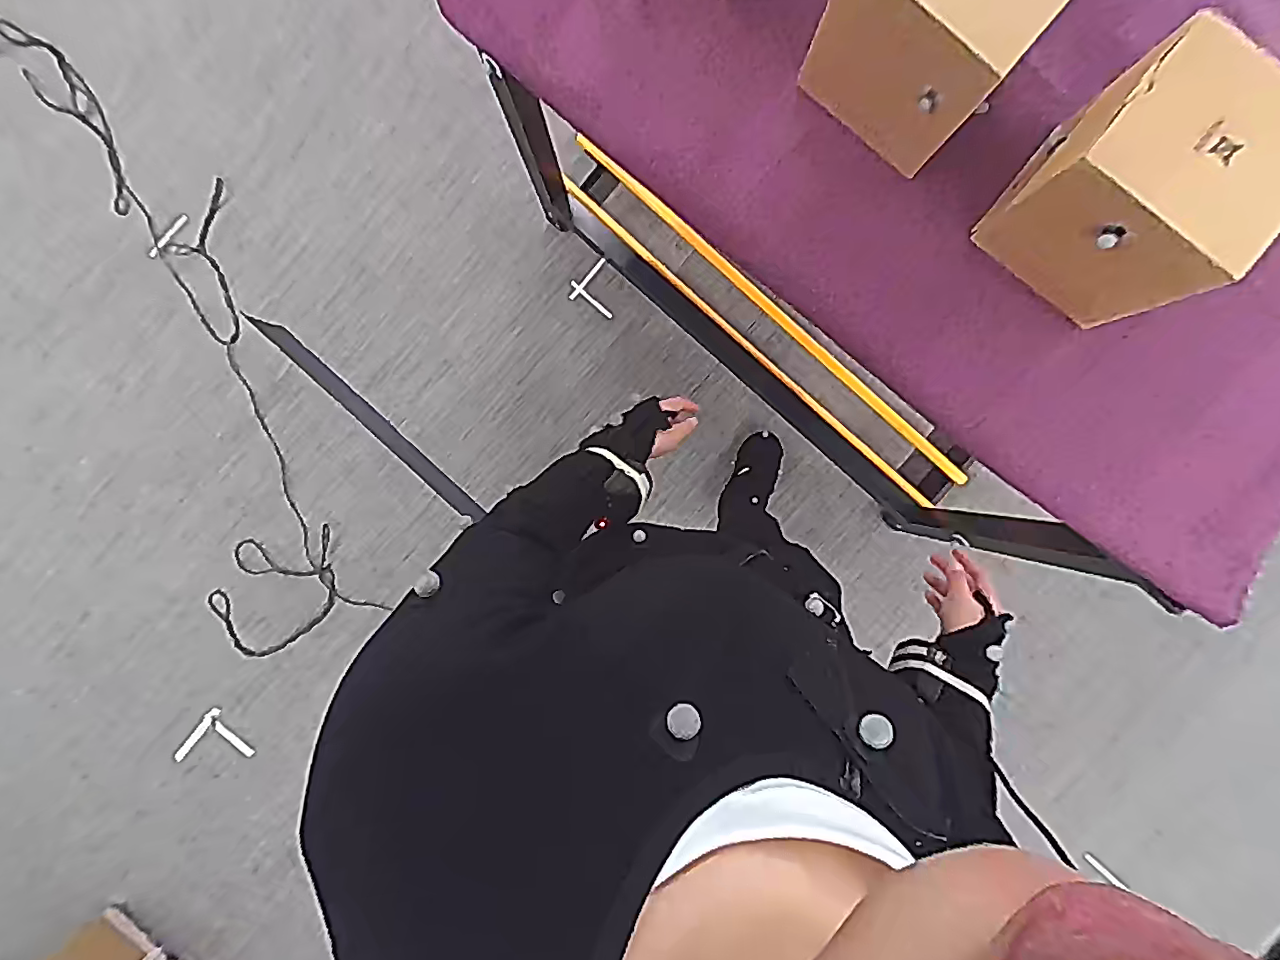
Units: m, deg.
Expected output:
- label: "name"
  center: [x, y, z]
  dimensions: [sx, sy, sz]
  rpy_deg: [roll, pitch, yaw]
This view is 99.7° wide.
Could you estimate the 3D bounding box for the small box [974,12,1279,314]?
- label: "small box"
  center: [0.499, -0.292, 0.549]
  dimensions: [0.179, 0.176, 0.168]
  rpy_deg: [39, 91, 1]
